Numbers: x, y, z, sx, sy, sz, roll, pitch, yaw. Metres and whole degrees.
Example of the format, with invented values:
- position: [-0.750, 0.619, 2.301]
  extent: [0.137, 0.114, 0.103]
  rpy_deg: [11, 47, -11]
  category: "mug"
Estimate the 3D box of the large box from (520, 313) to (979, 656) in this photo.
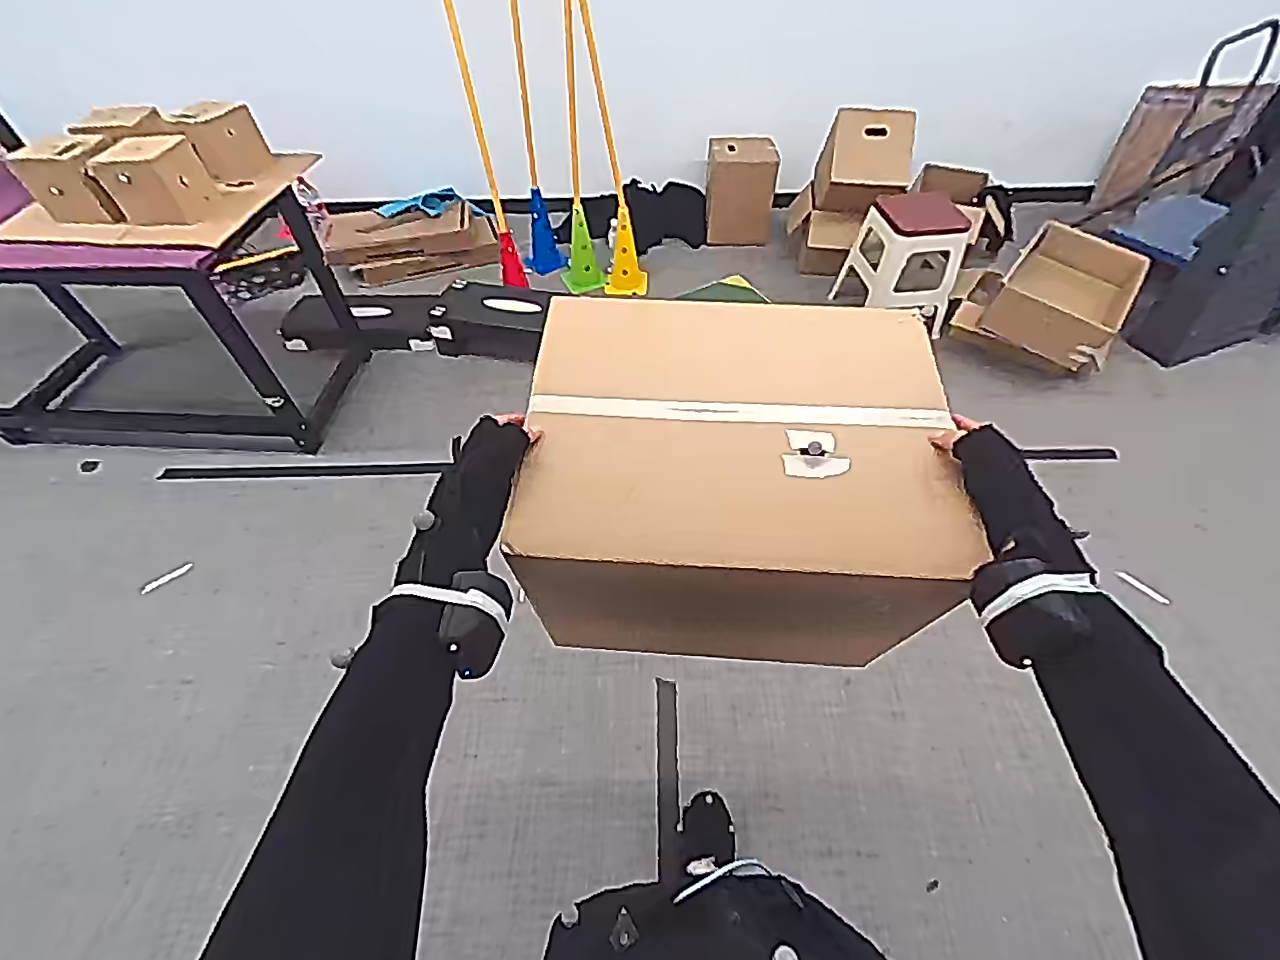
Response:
- position: [0.098, 0.021, 0.665]
  extent: [0.408, 0.320, 0.320]
  rpy_deg: [3, 60, 2]
  category: "large box"
